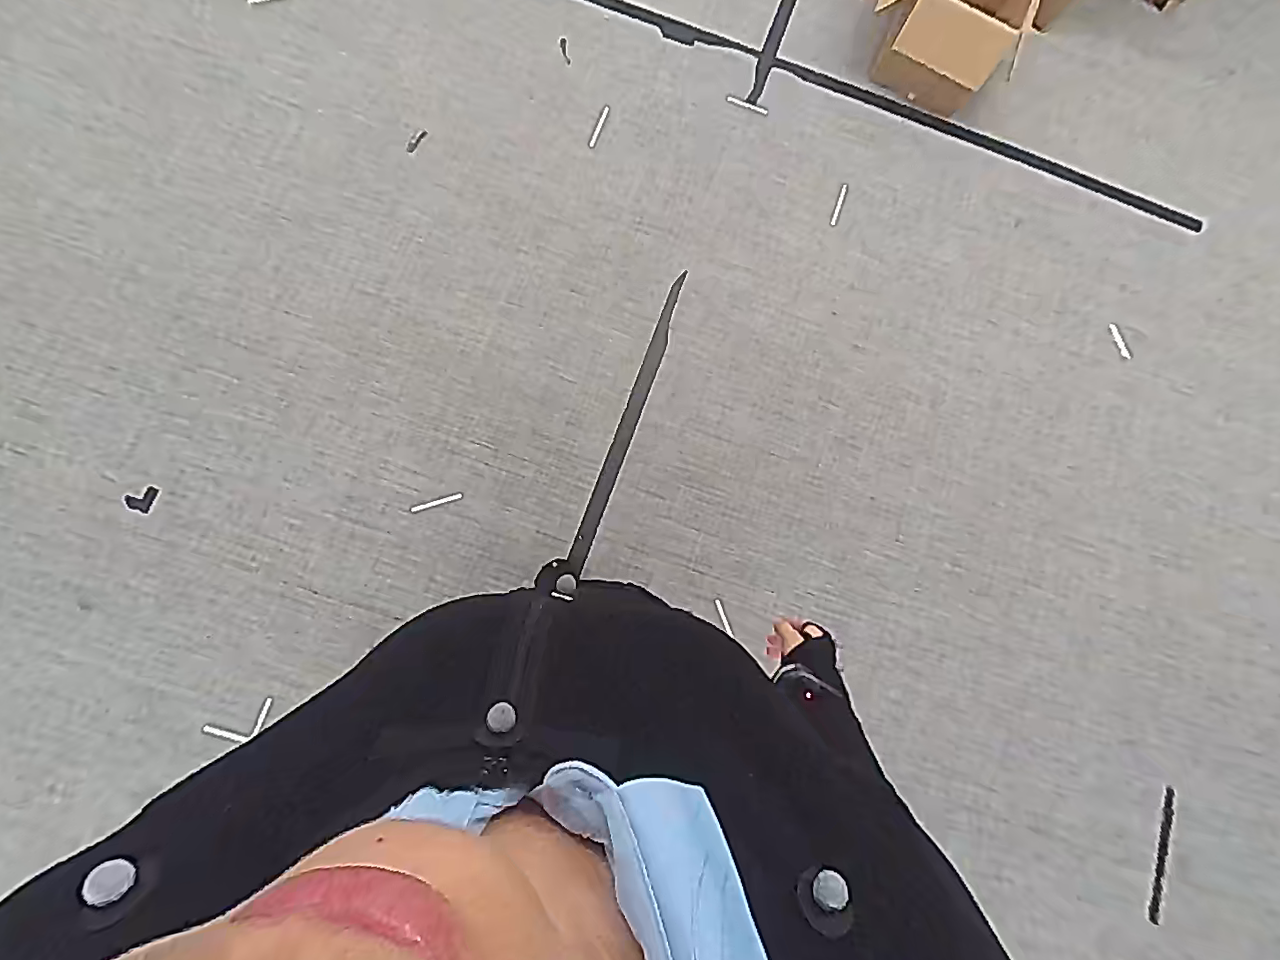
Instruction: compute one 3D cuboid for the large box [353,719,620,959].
[{"bbox_3d":[-0.270,0.722,1.092,0.408,0.320,0.320,15,79,-2],"label":"large box"}]
